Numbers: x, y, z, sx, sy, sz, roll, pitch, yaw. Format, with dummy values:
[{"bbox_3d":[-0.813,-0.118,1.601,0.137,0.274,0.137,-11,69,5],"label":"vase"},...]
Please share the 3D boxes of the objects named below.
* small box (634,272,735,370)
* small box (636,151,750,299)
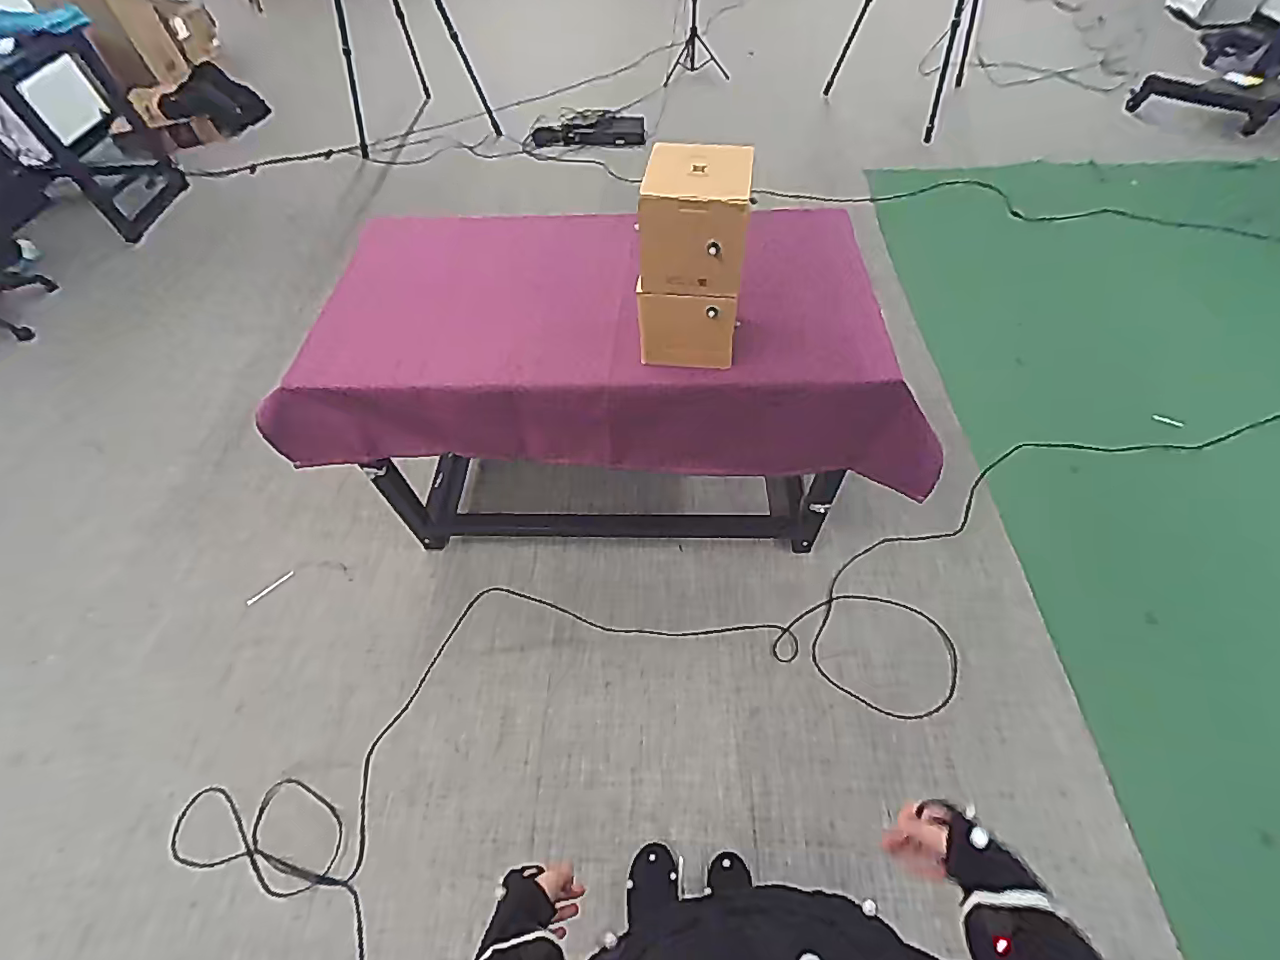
[{"bbox_3d":[0.090,-0.329,1.045,0.179,0.176,0.168,5,54,7],"label":"small box"},{"bbox_3d":[0.091,-0.428,0.915,0.168,0.176,0.179,7,54,7],"label":"small box"}]
